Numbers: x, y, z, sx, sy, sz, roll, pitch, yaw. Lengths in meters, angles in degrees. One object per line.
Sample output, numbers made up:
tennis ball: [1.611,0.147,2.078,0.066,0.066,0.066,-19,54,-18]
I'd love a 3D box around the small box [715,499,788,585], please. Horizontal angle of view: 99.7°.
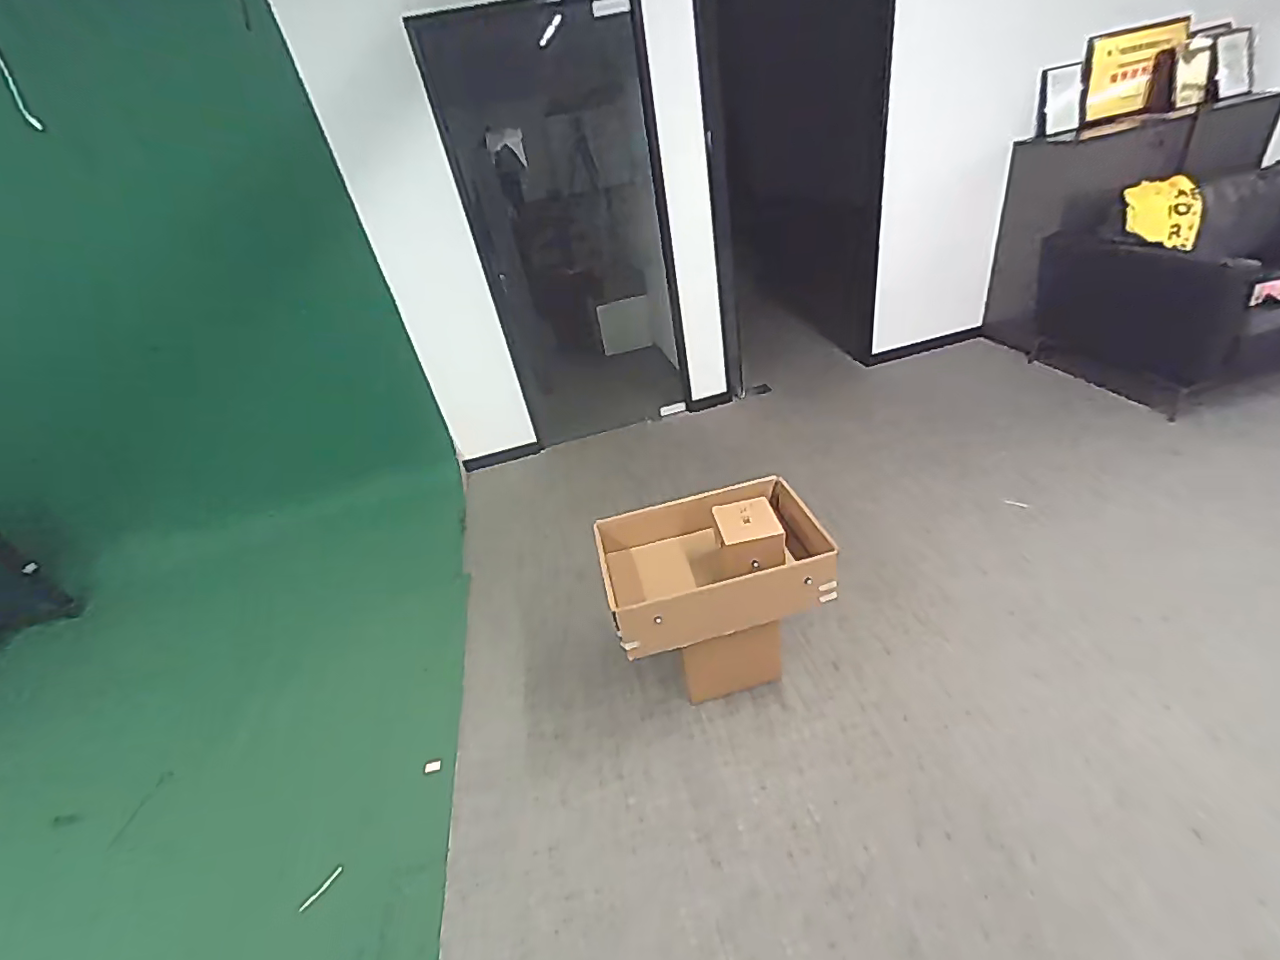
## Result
small box: [0.319,0.184,1.551,0.168,0.176,0.179,-11,33,0]
